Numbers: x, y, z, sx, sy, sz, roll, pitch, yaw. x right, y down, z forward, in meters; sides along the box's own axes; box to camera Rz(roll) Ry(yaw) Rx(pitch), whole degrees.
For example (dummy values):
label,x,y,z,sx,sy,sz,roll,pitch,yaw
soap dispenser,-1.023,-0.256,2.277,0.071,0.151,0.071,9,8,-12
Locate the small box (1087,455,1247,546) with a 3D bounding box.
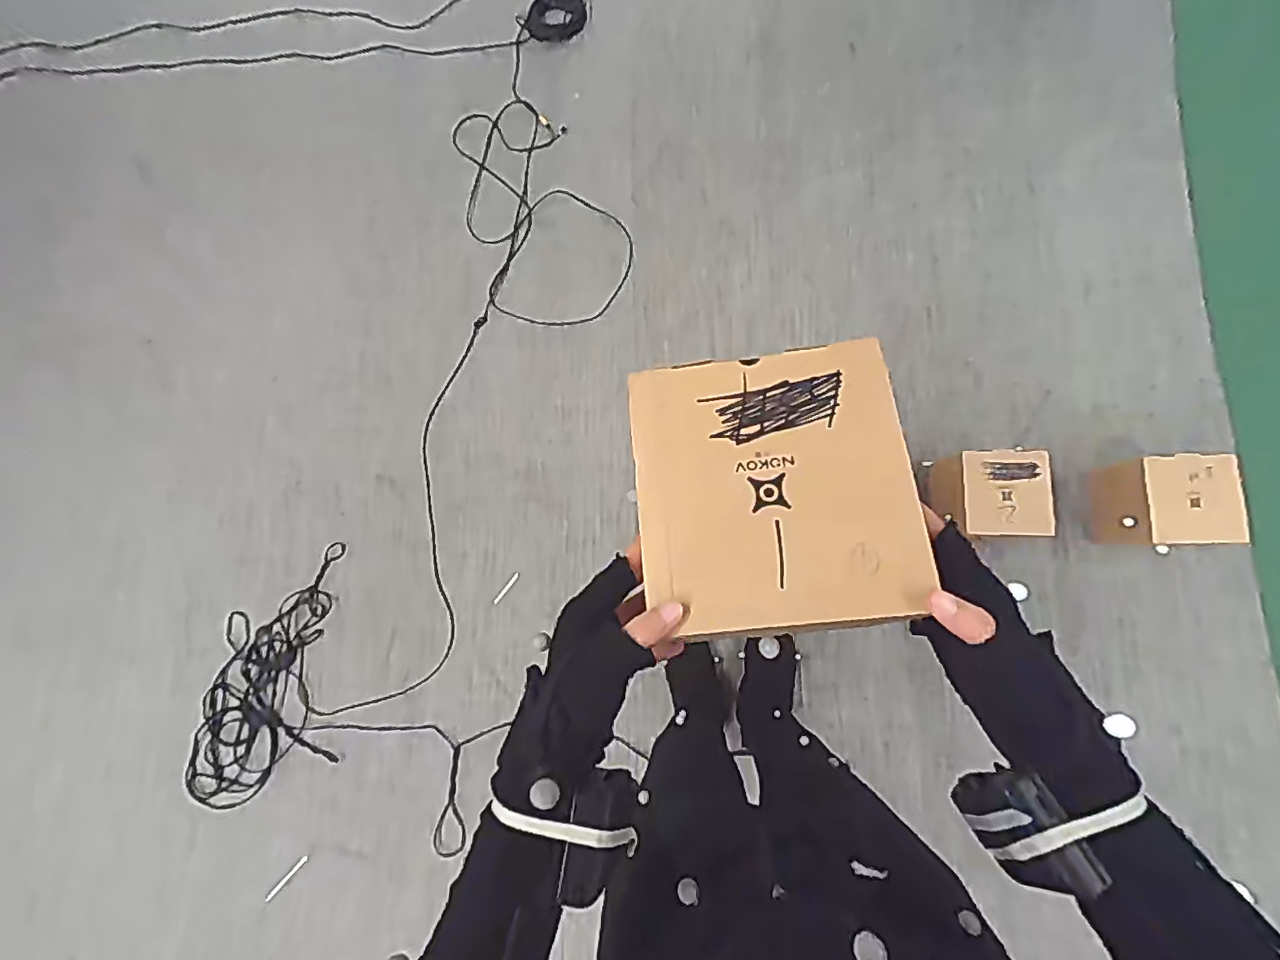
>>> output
label,x,y,z,sx,sy,sz,roll,pitch,yaw
small box,1.076,0.049,1.119,0.168,0.176,0.179,-1,81,7
